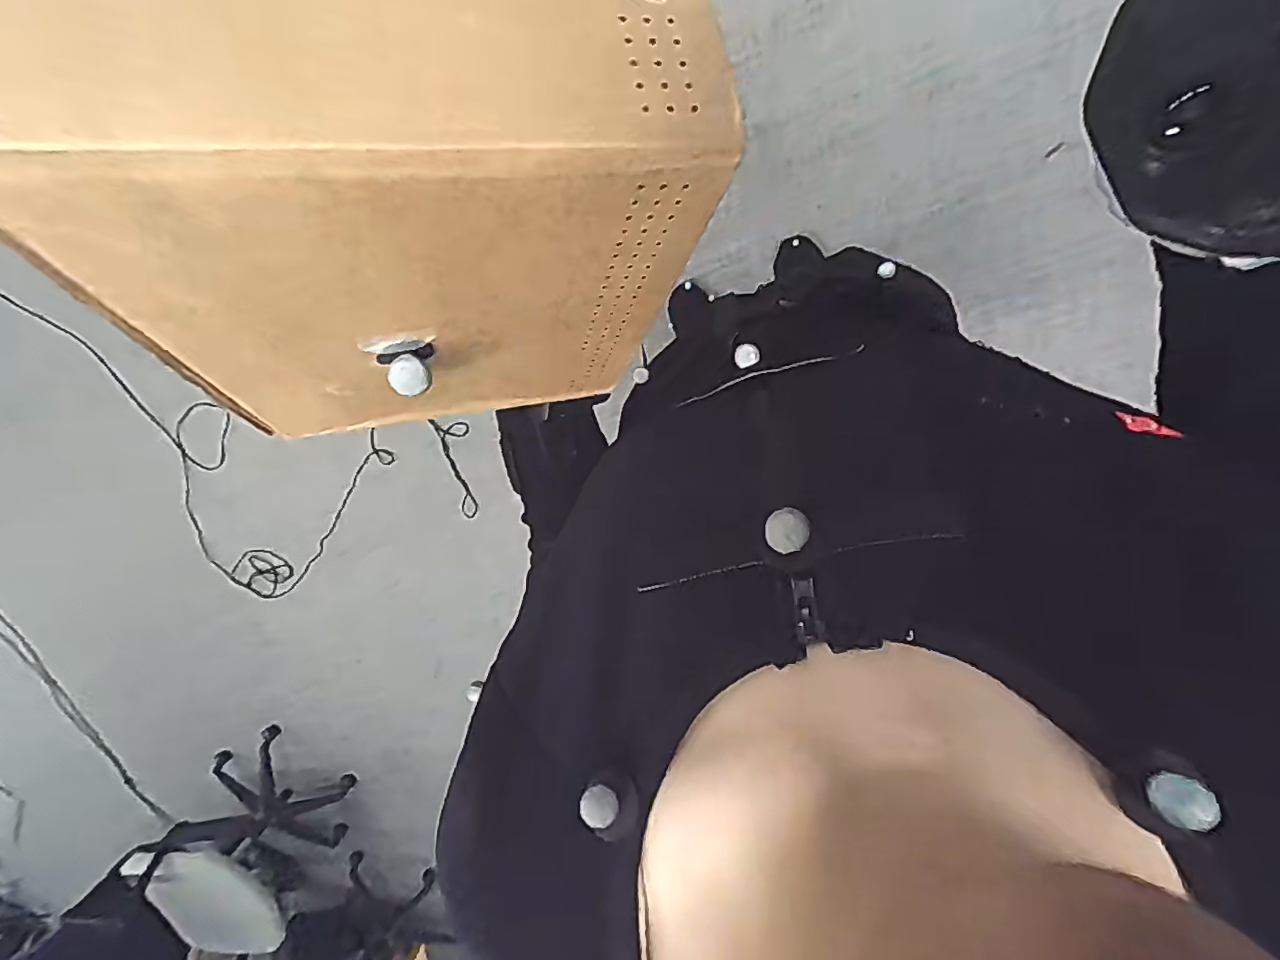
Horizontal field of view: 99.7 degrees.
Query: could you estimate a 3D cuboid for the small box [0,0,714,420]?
[{"bbox_3d":[-0.087,-0.134,0.215,0.176,0.179,0.168,-11,81,-15],"label":"small box"}]
